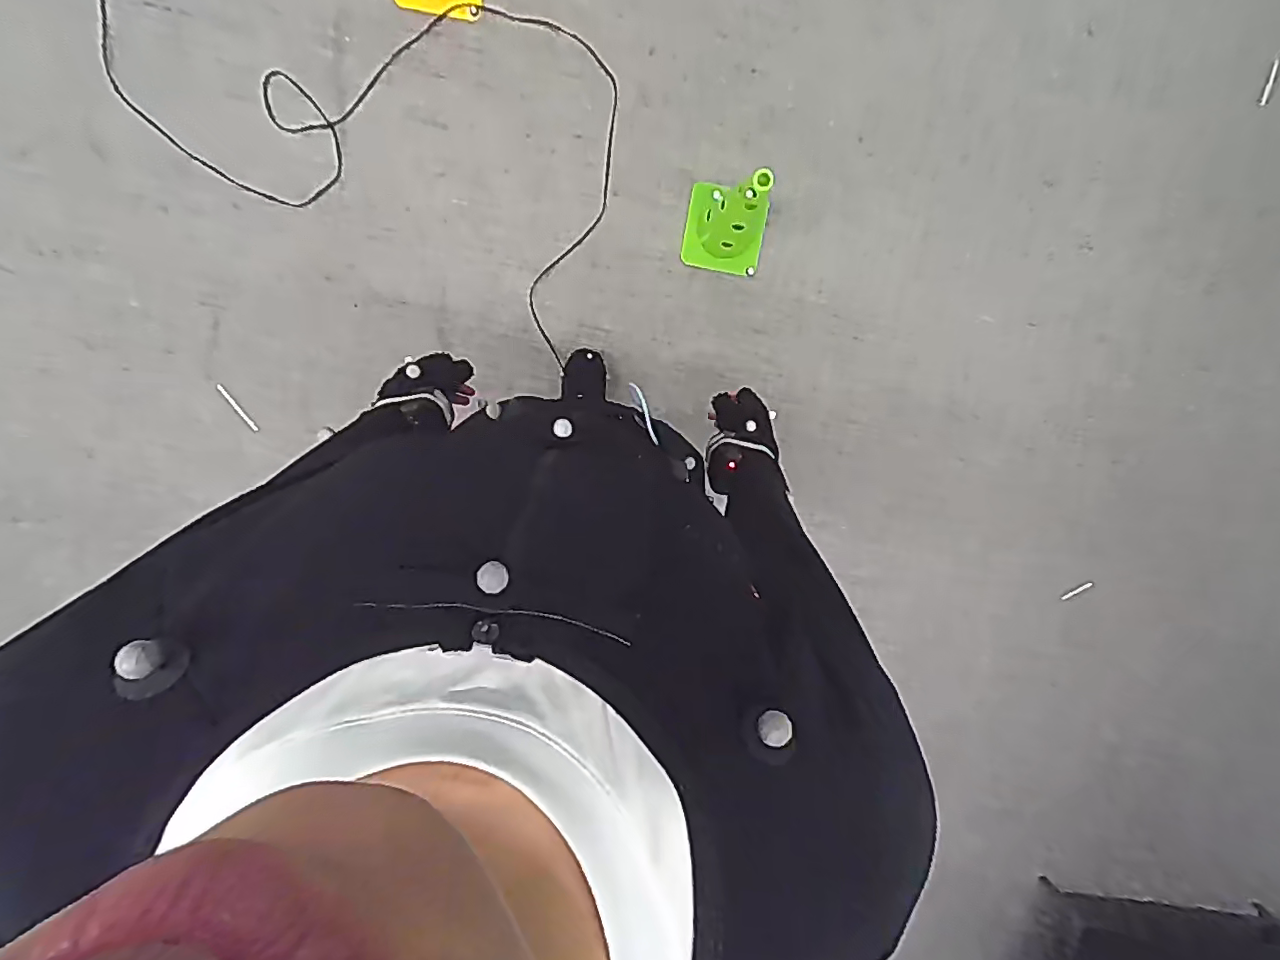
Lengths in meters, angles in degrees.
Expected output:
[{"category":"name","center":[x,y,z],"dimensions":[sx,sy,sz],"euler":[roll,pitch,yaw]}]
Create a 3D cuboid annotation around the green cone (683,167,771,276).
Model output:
[{"category":"green cone","center":[0.227,-0.608,1.203],"dimensions":[0.202,0.368,0.200],"euler":[9,99,-4]}]
